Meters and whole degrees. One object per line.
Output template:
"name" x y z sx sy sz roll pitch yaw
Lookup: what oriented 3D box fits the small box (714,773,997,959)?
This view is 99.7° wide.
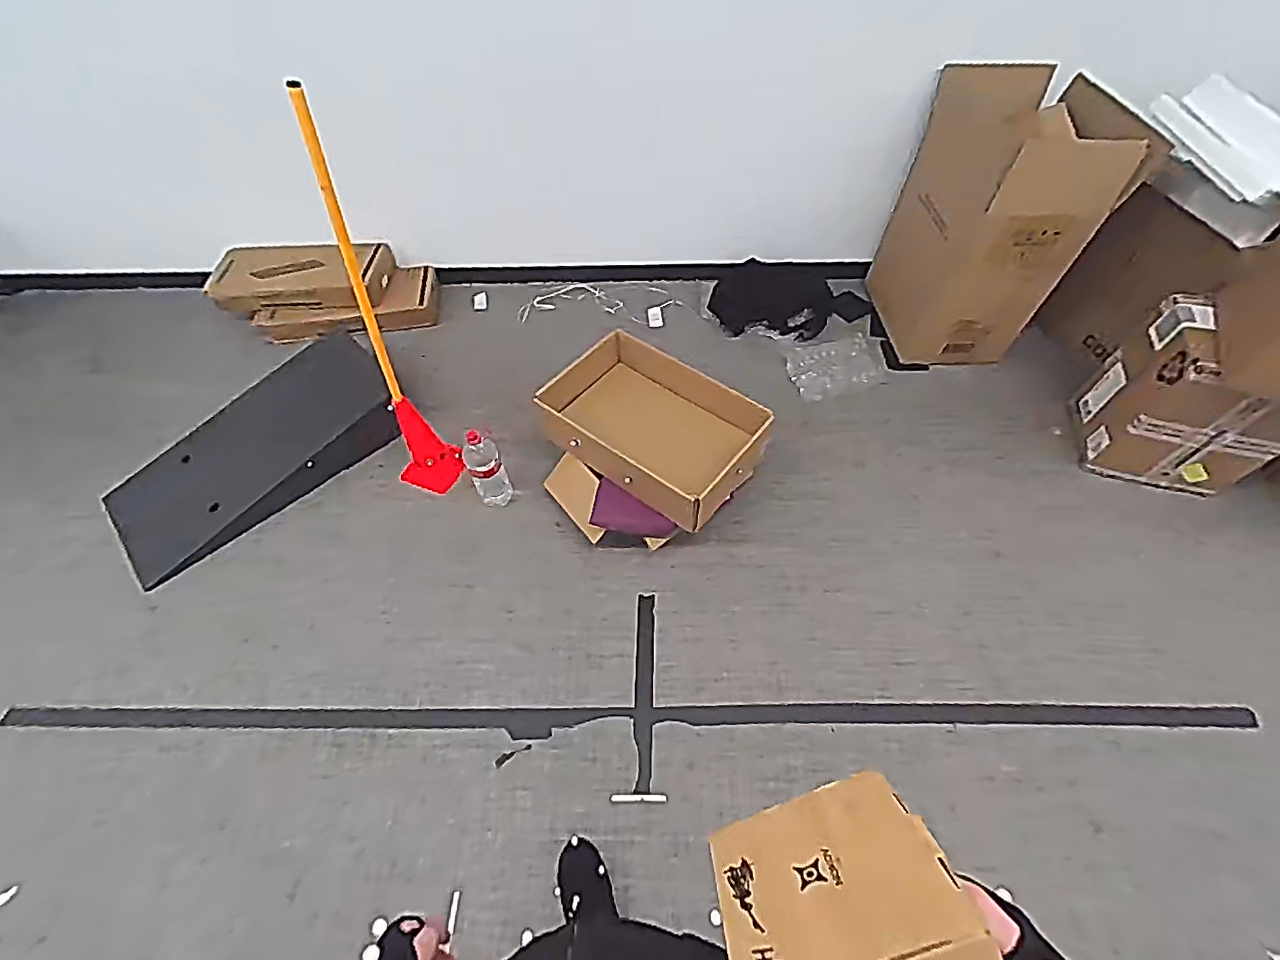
"small box" 0.181 0.397 0.453 0.179 0.168 0.176 -22 94 2
